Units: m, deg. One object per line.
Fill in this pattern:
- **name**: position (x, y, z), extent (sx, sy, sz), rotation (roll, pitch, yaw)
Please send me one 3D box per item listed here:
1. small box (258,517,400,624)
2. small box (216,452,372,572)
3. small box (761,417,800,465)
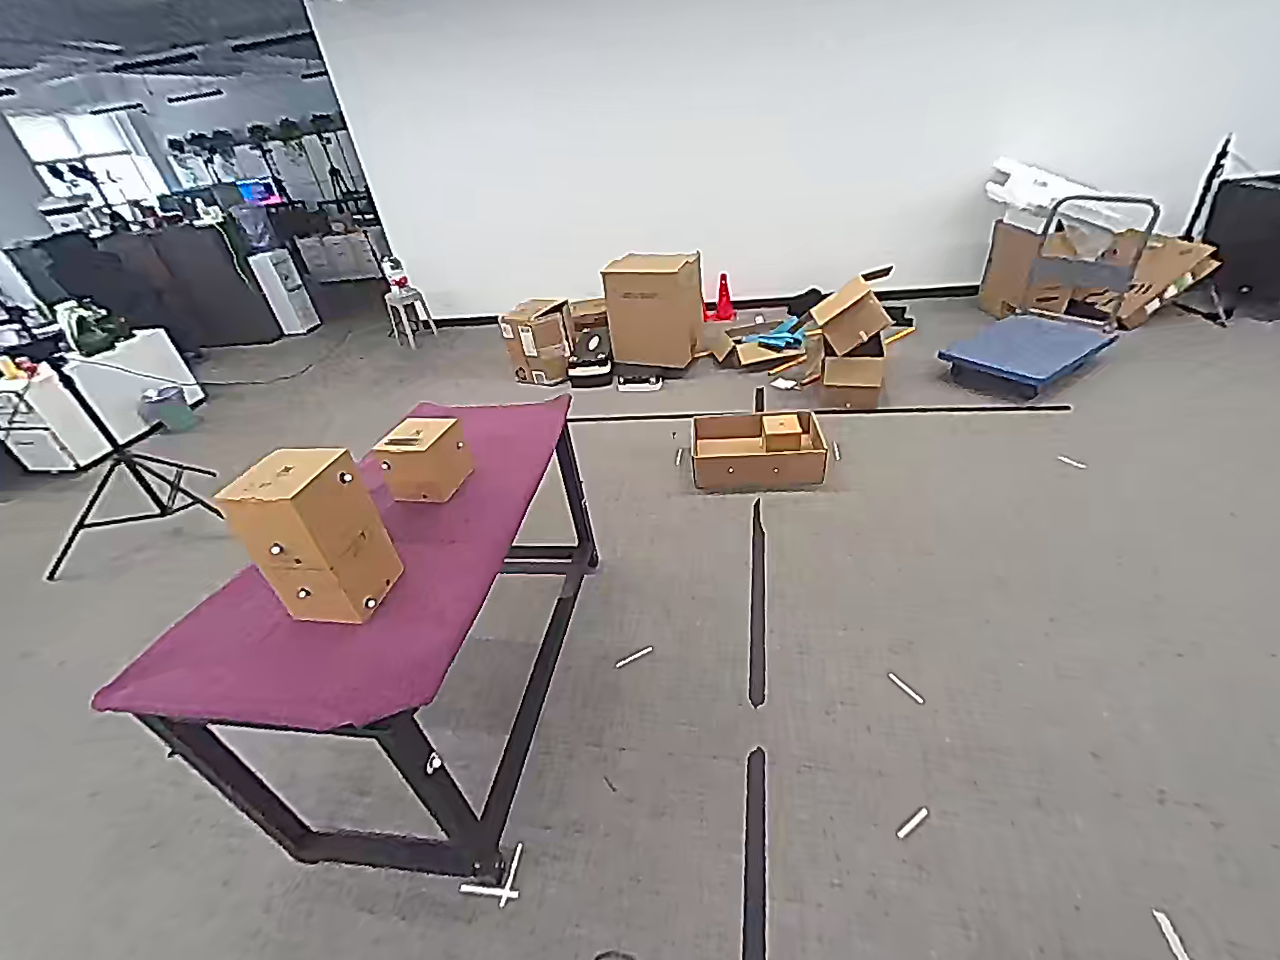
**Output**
- **small box**: position (-0.652, 0.193, 1.162), extent (0.179, 0.176, 0.168), rotation (0, 34, 11)
- **small box**: position (-0.662, 0.058, 1.066), extent (0.168, 0.176, 0.179), rotation (0, 34, 11)
- **small box**: position (0.687, -0.192, 2.663), extent (0.168, 0.176, 0.179), rotation (-3, 35, 8)
